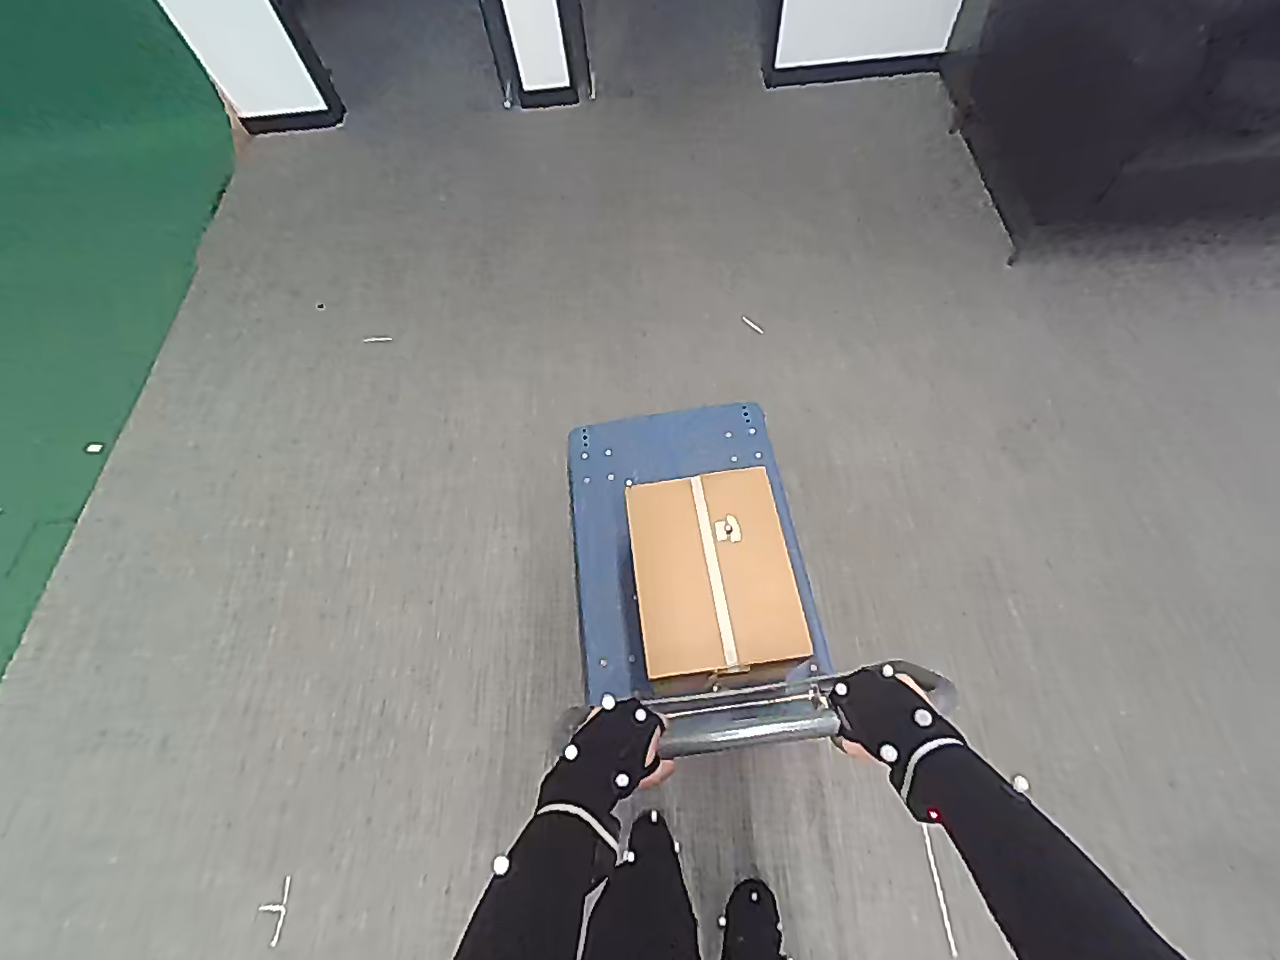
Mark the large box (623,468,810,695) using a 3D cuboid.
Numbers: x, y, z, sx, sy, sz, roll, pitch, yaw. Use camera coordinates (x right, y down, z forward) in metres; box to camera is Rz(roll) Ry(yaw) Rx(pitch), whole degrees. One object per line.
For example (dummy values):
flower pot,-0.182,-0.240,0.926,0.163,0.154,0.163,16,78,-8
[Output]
large box,0.153,0.239,1.228,0.320,0.320,0.408,-8,62,-1
